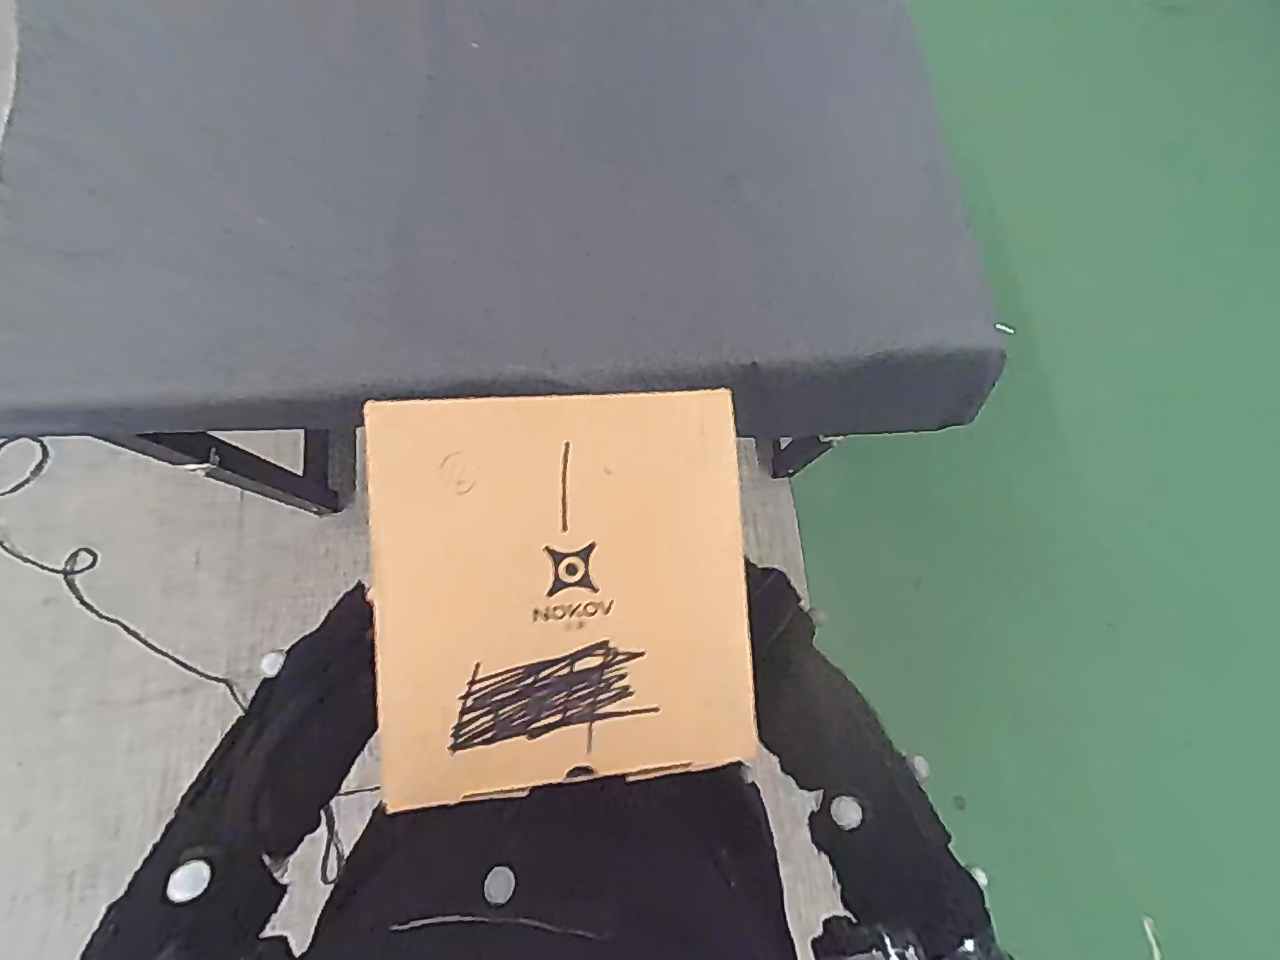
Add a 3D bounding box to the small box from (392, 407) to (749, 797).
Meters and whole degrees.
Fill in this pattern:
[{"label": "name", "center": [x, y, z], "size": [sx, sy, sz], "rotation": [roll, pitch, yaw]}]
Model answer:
[{"label": "small box", "center": [-0.041, 0.055, 0.331], "size": [0.168, 0.176, 0.179], "rotation": [-2, 88, -10]}]
